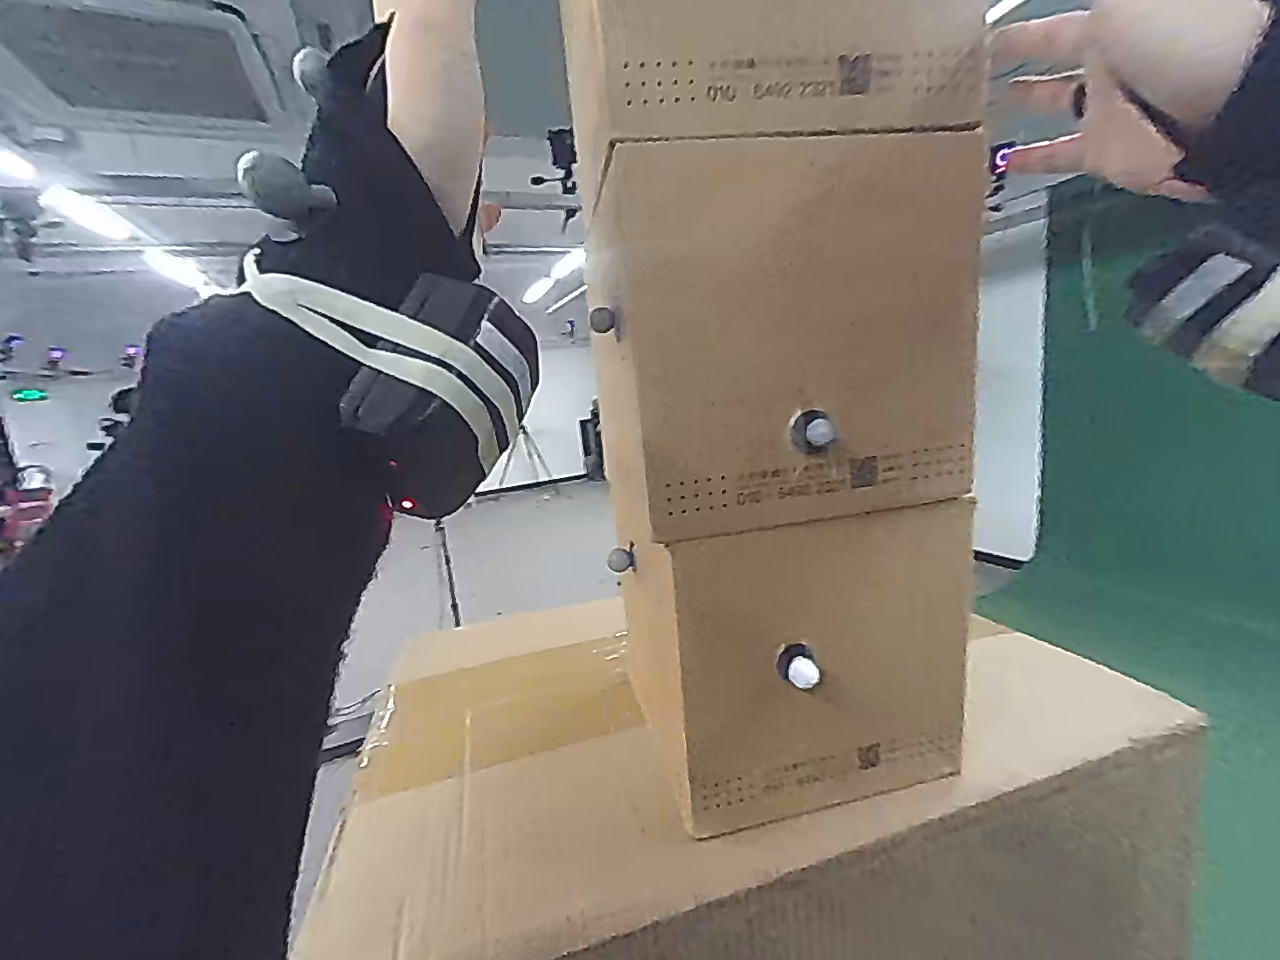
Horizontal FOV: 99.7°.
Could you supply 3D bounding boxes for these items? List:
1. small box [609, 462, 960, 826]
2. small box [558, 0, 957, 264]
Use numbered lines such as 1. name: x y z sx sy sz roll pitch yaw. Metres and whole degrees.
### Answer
1. small box: 0.080 0.093 0.360 0.168 0.176 0.179 -8 11 -11
2. small box: 0.045 -0.227 0.292 0.168 0.176 0.179 -7 11 -7
